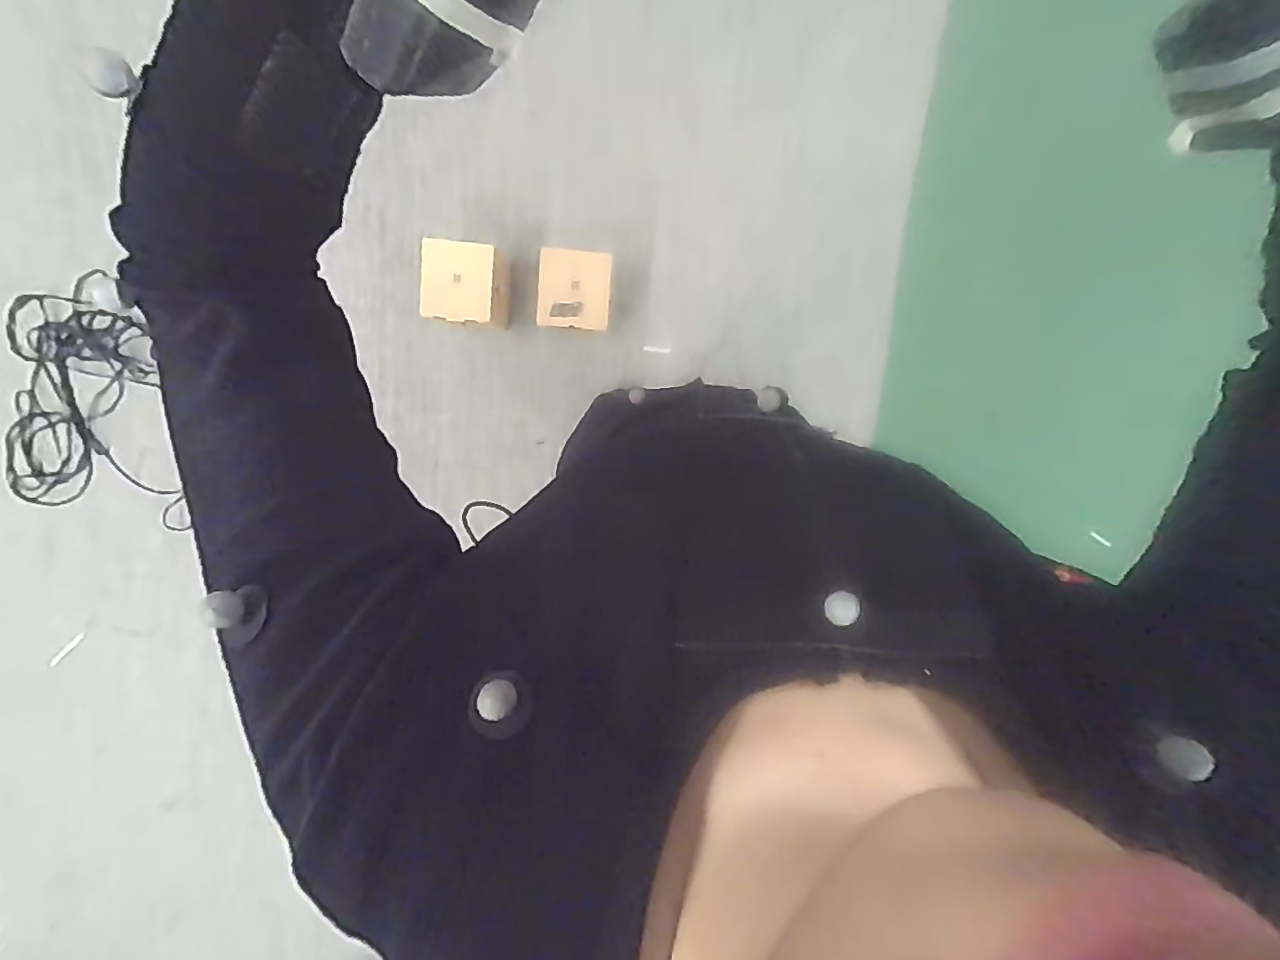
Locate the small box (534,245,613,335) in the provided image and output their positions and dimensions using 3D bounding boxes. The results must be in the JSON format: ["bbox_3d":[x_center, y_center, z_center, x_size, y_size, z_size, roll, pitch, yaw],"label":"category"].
[{"bbox_3d":[-0.156,-0.454,1.319,0.168,0.176,0.179,5,98,-1],"label":"small box"}]

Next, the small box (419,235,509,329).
[{"bbox_3d":[-0.421,-0.474,1.316,0.168,0.176,0.179,5,99,-1],"label":"small box"}]
